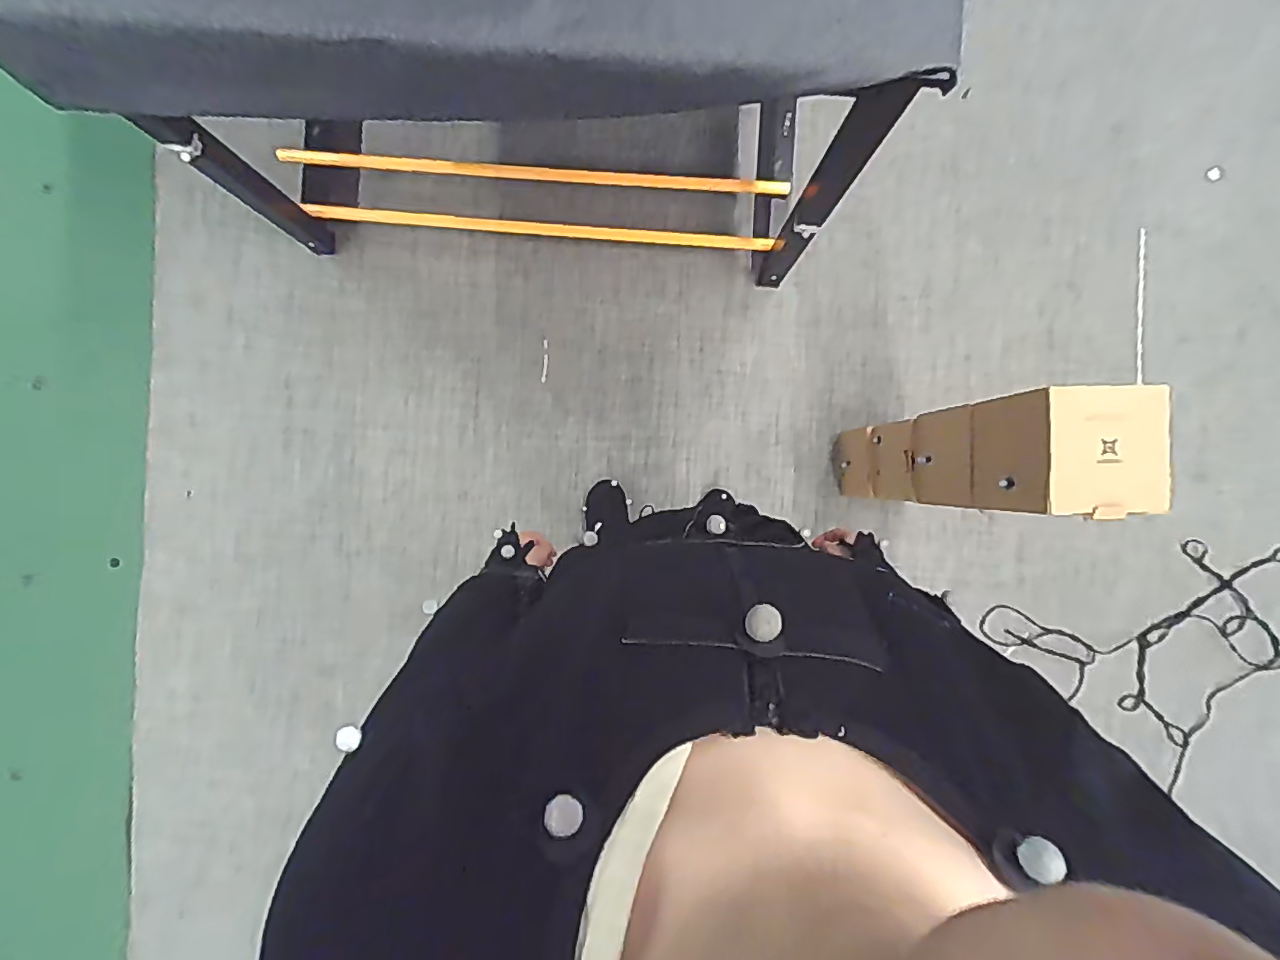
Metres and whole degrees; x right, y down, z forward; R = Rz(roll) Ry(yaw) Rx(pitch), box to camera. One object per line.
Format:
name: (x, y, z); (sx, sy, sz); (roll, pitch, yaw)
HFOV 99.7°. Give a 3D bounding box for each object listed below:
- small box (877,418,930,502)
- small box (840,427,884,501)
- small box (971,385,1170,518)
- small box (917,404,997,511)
small box: (0.609, -0.038, 1.124); (0.179, 0.176, 0.168); (-2, 90, -2)
small box: (0.595, -0.038, 1.288); (0.179, 0.176, 0.168); (-3, 89, 0)
small box: (0.619, -0.038, 0.798); (0.168, 0.176, 0.179); (-1, 89, -1)
small box: (0.615, -0.040, 0.961); (0.168, 0.176, 0.179); (-1, 90, -1)
